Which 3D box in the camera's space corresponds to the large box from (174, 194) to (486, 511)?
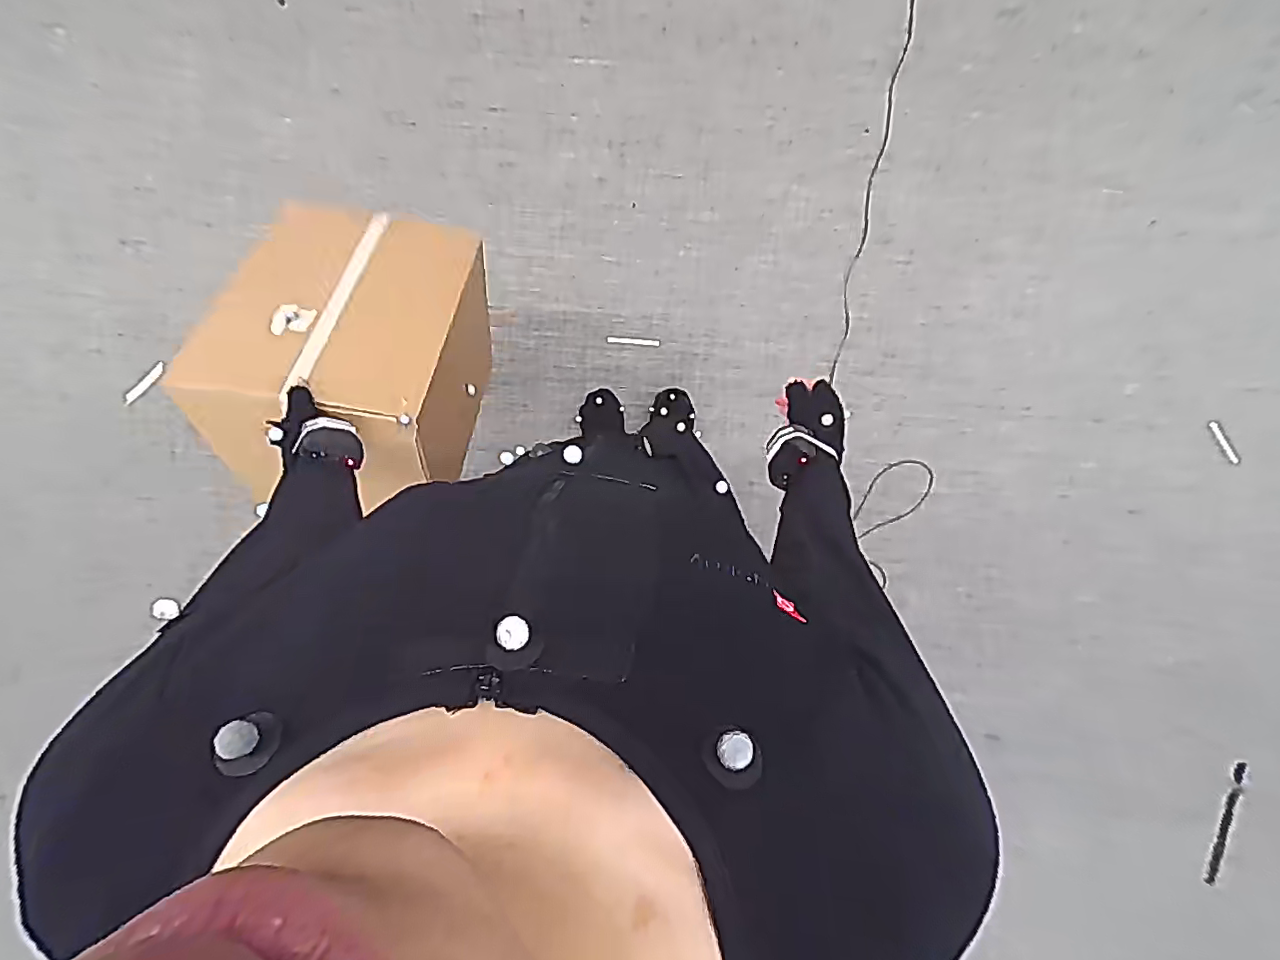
[{"bbox_3d":[-0.463,-0.204,0.931,0.320,0.320,0.408,8,61,-6],"label":"large box"}]
